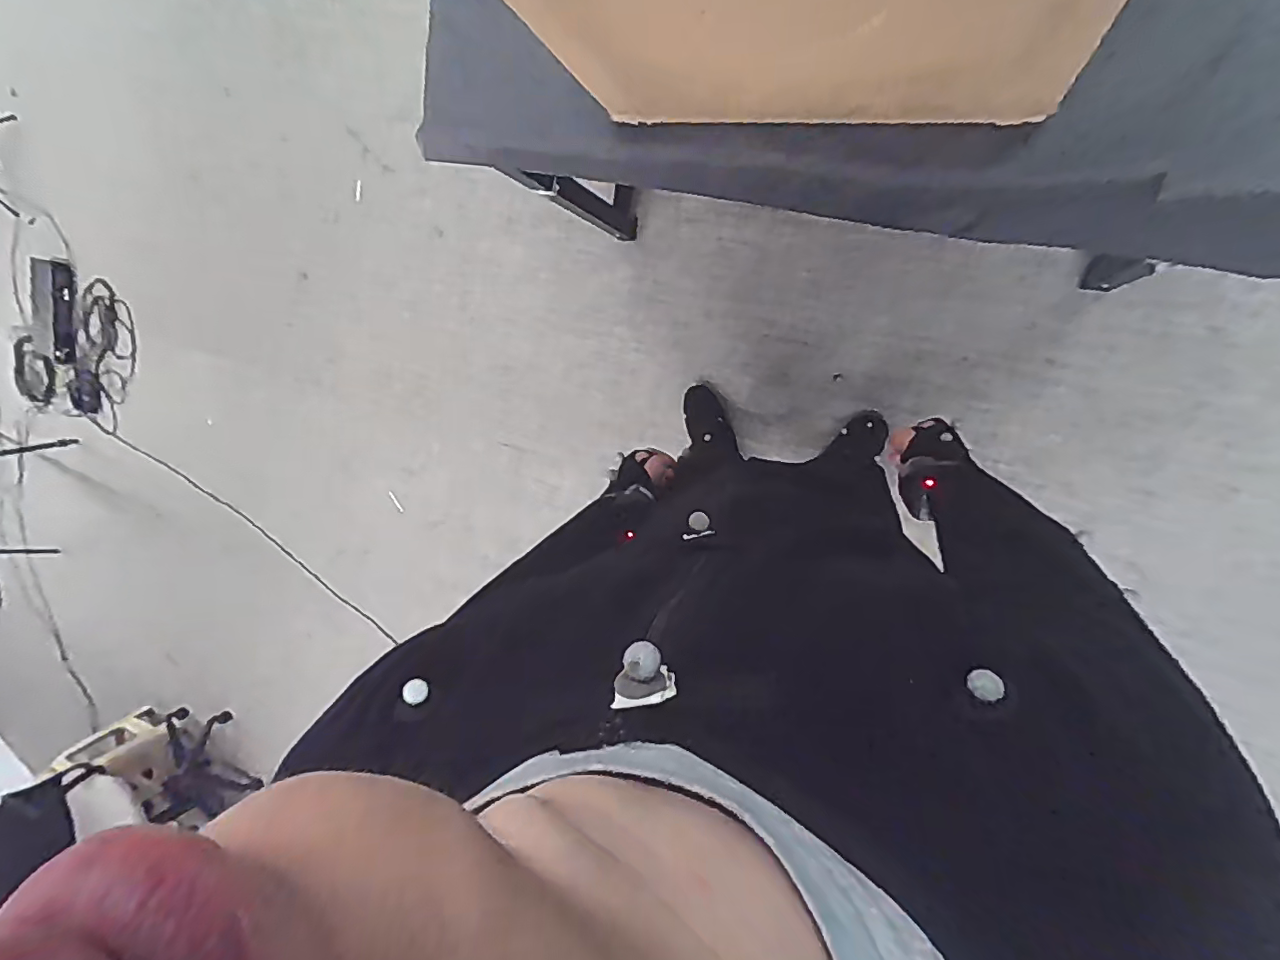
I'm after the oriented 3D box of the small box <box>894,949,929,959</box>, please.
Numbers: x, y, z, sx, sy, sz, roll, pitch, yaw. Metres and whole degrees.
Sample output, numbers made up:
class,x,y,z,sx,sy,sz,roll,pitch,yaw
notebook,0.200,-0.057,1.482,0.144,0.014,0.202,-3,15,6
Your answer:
class,x,y,z,sx,sy,sz,roll,pitch,yaw
small box,0.716,1.336,1.338,0.168,0.176,0.179,4,100,23

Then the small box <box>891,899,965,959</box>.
class,x,y,z,sx,sy,sz,roll,pitch,yaw
small box,0.787,1.311,1.484,0.168,0.176,0.179,3,103,24
